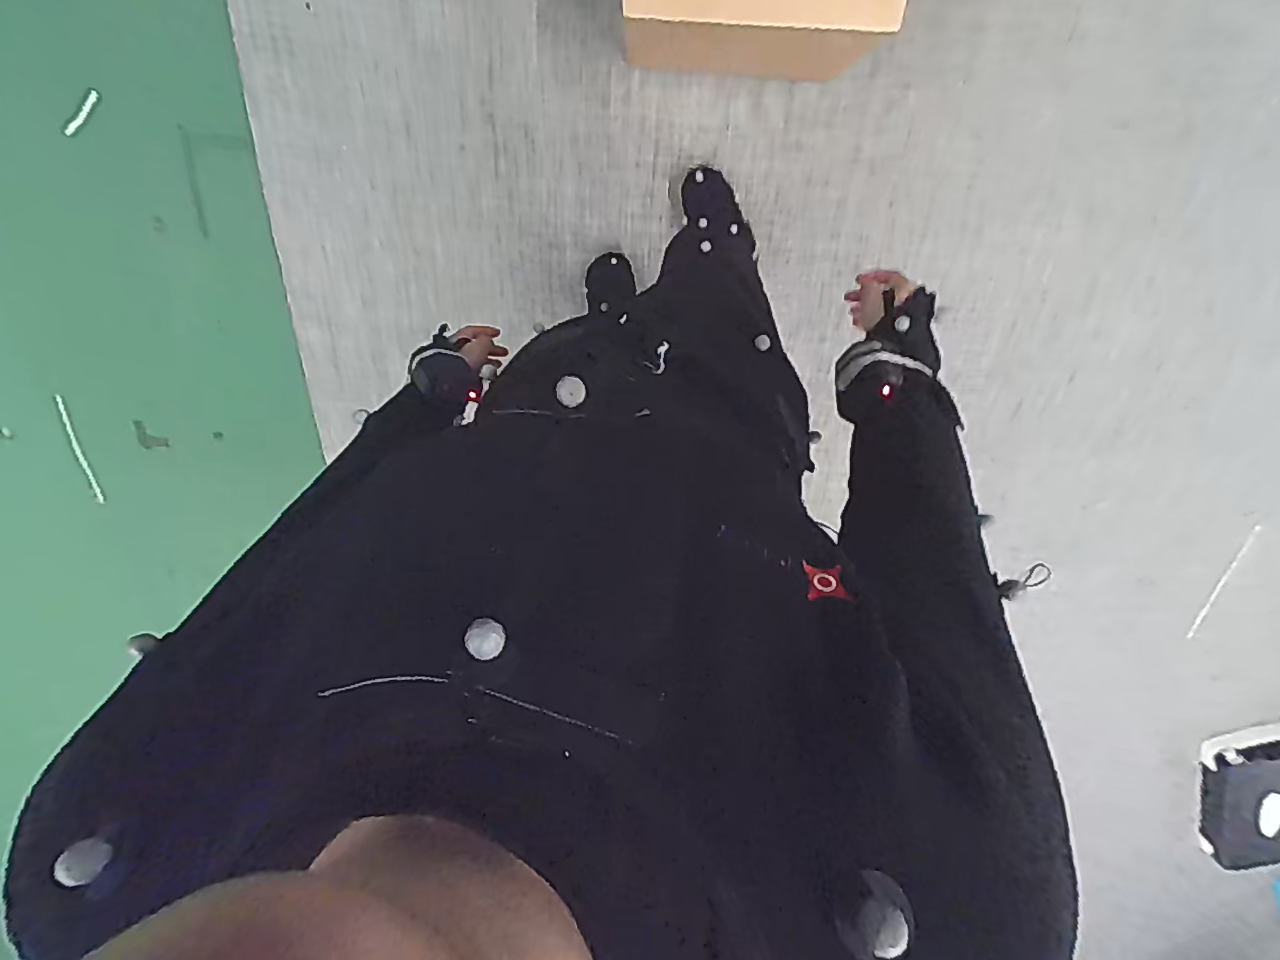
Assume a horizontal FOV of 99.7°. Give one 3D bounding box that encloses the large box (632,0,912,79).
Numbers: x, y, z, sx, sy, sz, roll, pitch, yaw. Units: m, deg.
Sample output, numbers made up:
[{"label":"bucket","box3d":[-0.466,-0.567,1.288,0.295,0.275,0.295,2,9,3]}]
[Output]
[{"label":"large box","box3d":[0.190,-0.852,0.844,0.408,0.320,0.320,2,117,-1]}]
